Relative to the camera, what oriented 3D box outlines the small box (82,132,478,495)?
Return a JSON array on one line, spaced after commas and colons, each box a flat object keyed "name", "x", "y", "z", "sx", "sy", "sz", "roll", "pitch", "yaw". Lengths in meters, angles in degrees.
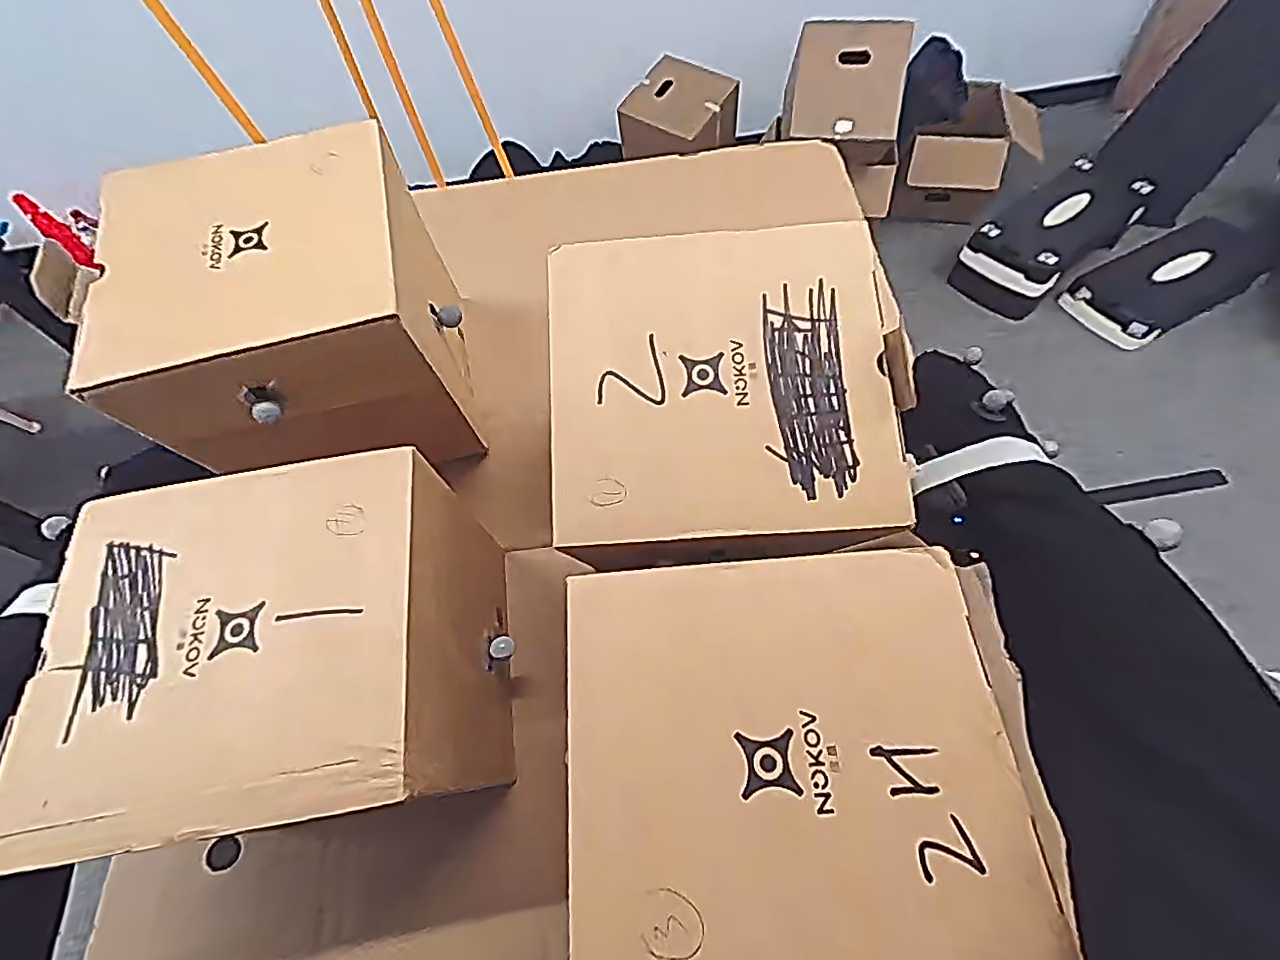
[{"name": "small box", "x": -0.231, "y": -0.107, "z": 0.398, "sx": 0.179, "sy": 0.176, "sz": 0.168, "roll": -15, "pitch": 67, "yaw": -2}]
